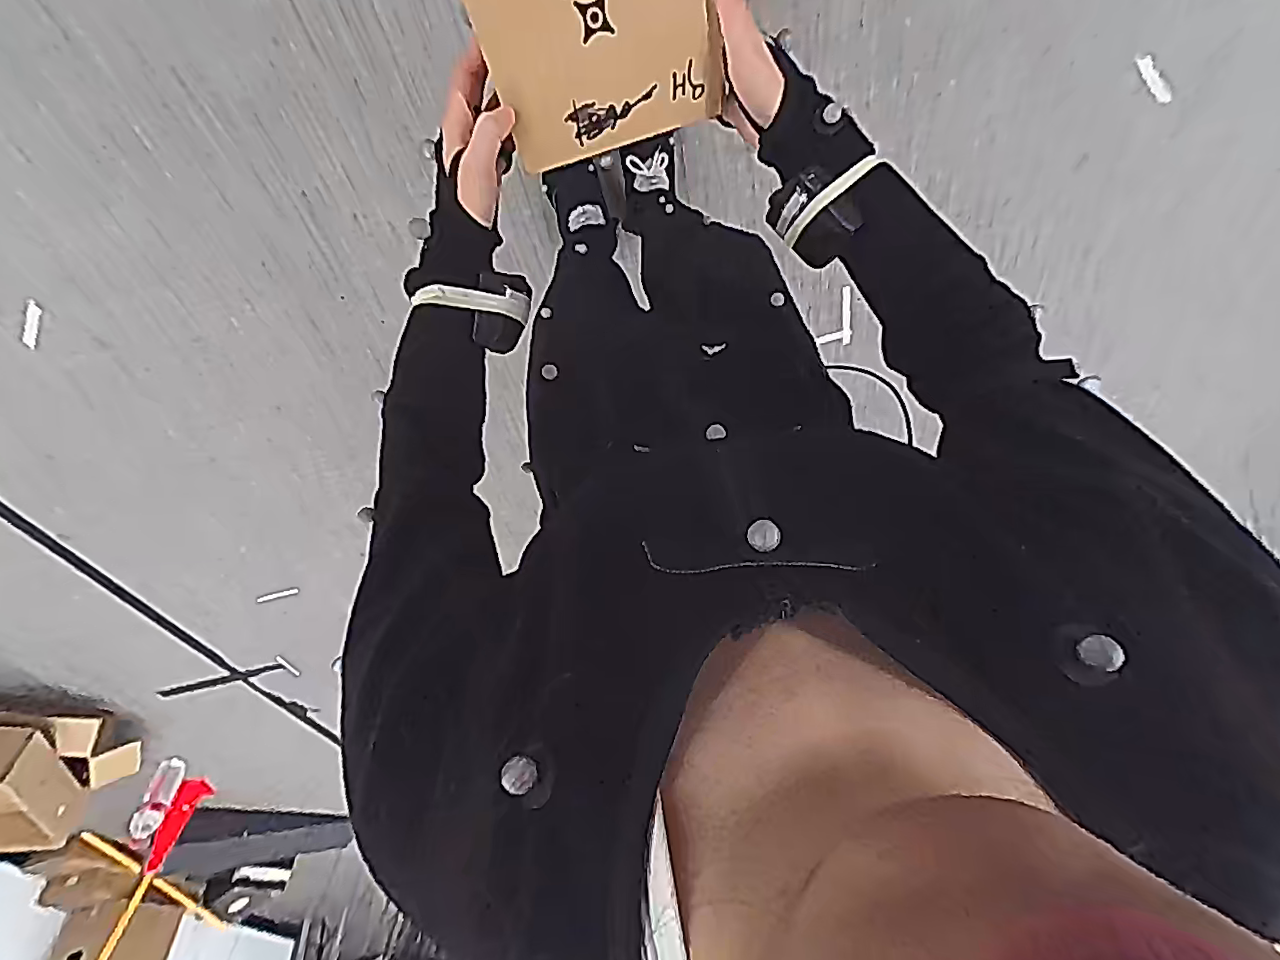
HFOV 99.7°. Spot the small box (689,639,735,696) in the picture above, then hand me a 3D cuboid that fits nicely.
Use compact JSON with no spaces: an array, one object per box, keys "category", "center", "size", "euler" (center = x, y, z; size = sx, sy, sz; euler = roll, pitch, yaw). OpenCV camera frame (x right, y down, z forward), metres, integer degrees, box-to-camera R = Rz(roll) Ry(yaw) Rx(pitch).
[{"category":"small box","center":[0.332,0.858,2.479],"size":[0.168,0.176,0.179],"euler":[-15,131,2]}]

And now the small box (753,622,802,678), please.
[{"category":"small box","center":[0.623,0.770,2.459],"size":[0.179,0.176,0.168],"euler":[-13,130,2]}]

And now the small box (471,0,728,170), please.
[{"category":"small box","center":[-0.040,-0.374,0.427],"size":[0.168,0.176,0.179],"euler":[-15,129,4]}]

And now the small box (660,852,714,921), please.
[{"category":"small box","center":[0.179,1.577,2.101],"size":[0.179,0.176,0.168],"euler":[-13,132,1]}]
